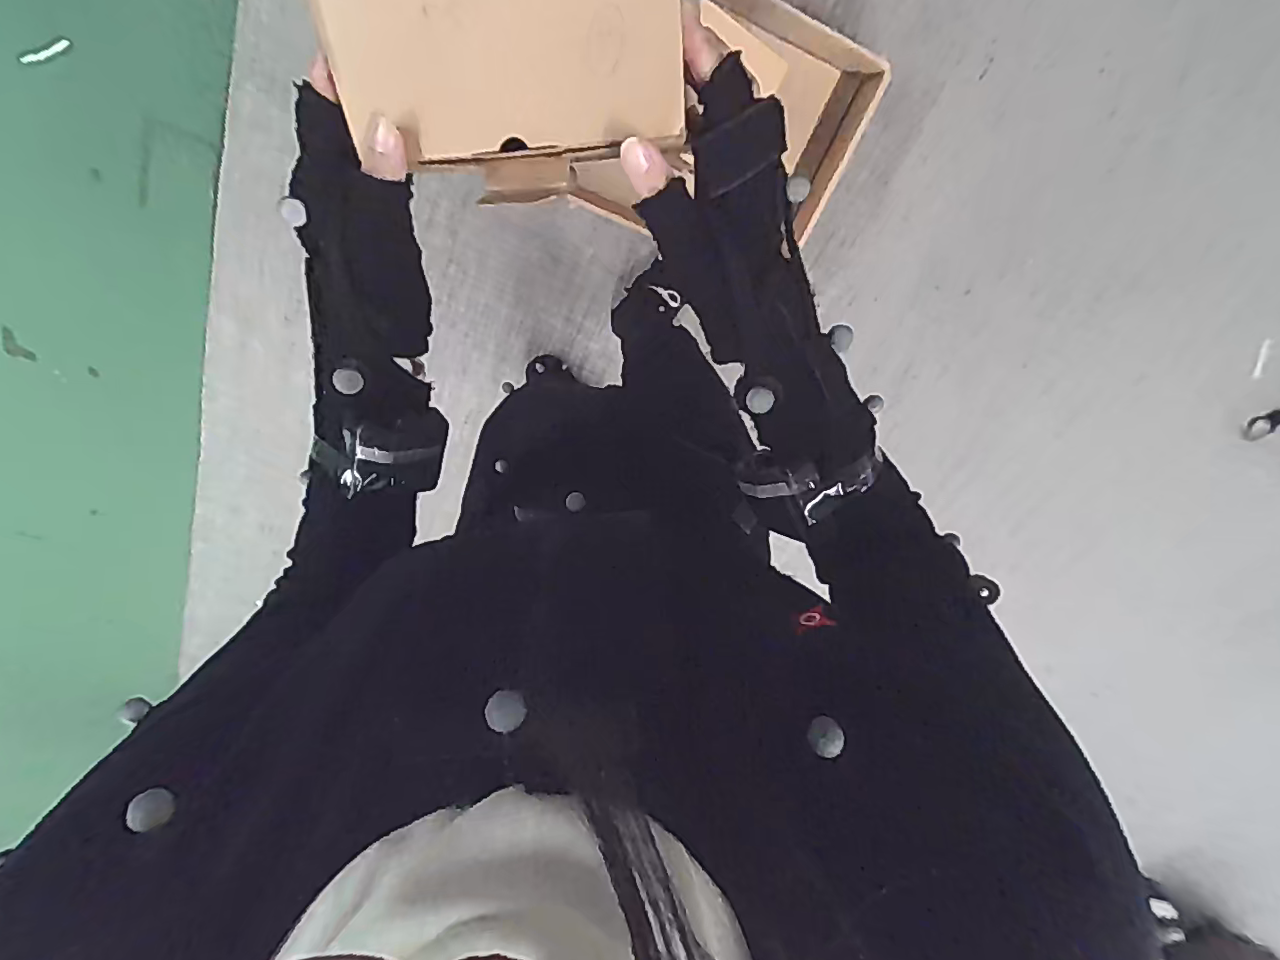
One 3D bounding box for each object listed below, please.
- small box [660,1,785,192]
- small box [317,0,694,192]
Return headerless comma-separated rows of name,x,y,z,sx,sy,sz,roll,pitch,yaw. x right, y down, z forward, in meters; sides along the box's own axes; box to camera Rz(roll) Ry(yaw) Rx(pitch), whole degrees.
small box,0.098,-0.582,0.851,0.168,0.176,0.179,28,115,-13
small box,-0.062,-0.277,0.308,0.168,0.176,0.179,-1,120,12
